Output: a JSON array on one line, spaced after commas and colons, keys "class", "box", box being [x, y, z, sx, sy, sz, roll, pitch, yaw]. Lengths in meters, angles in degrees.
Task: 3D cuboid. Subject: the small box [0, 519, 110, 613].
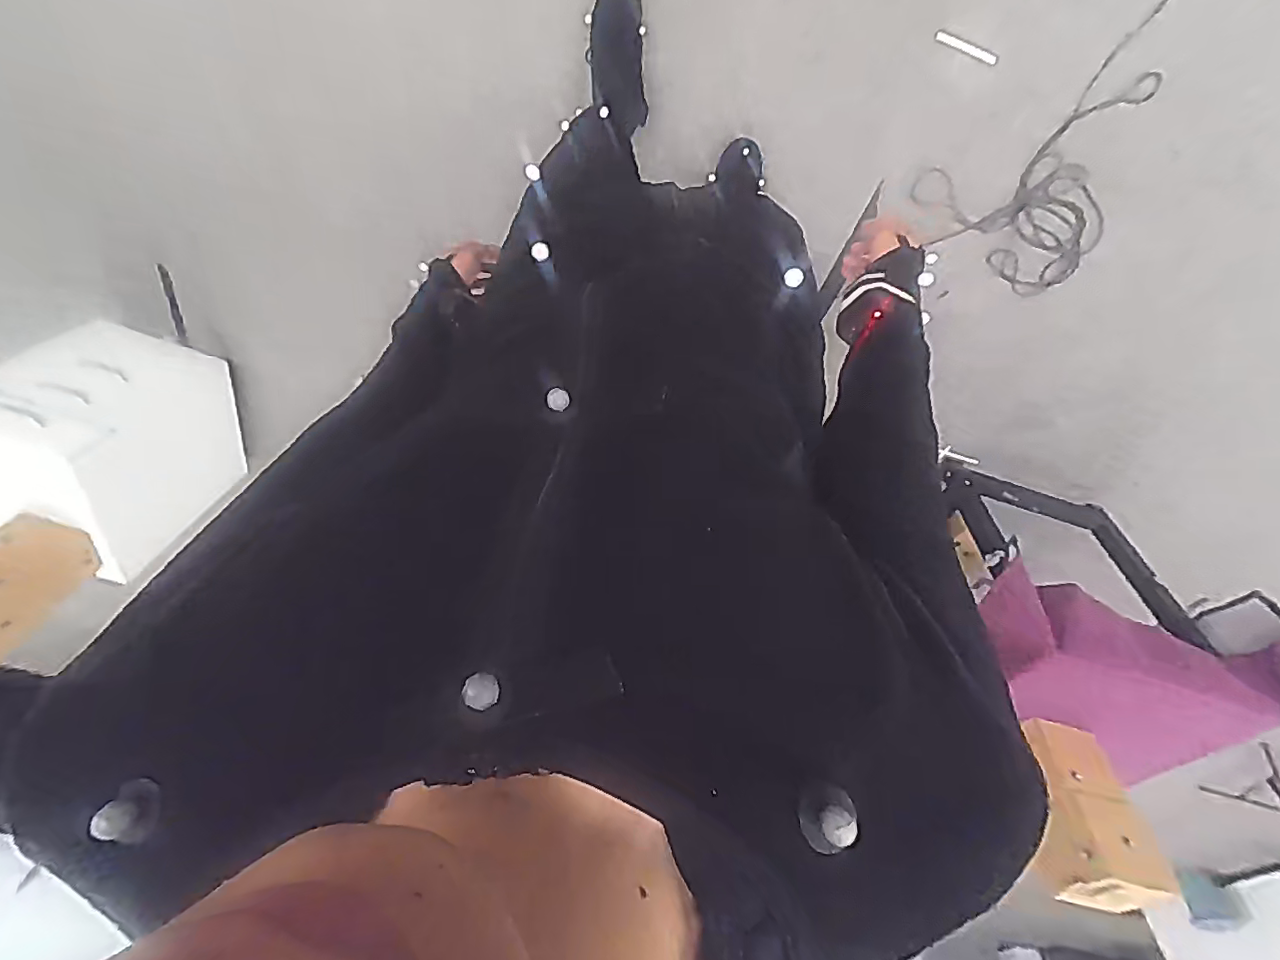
[{"class": "small box", "box": [-1.629, 0.232, 1.478, 0.179, 0.176, 0.168, 20, 130, -7]}]

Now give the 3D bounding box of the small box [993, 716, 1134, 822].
[{"class": "small box", "box": [1.019, 0.702, 1.319, 0.179, 0.176, 0.168, 17, 130, -6]}]
